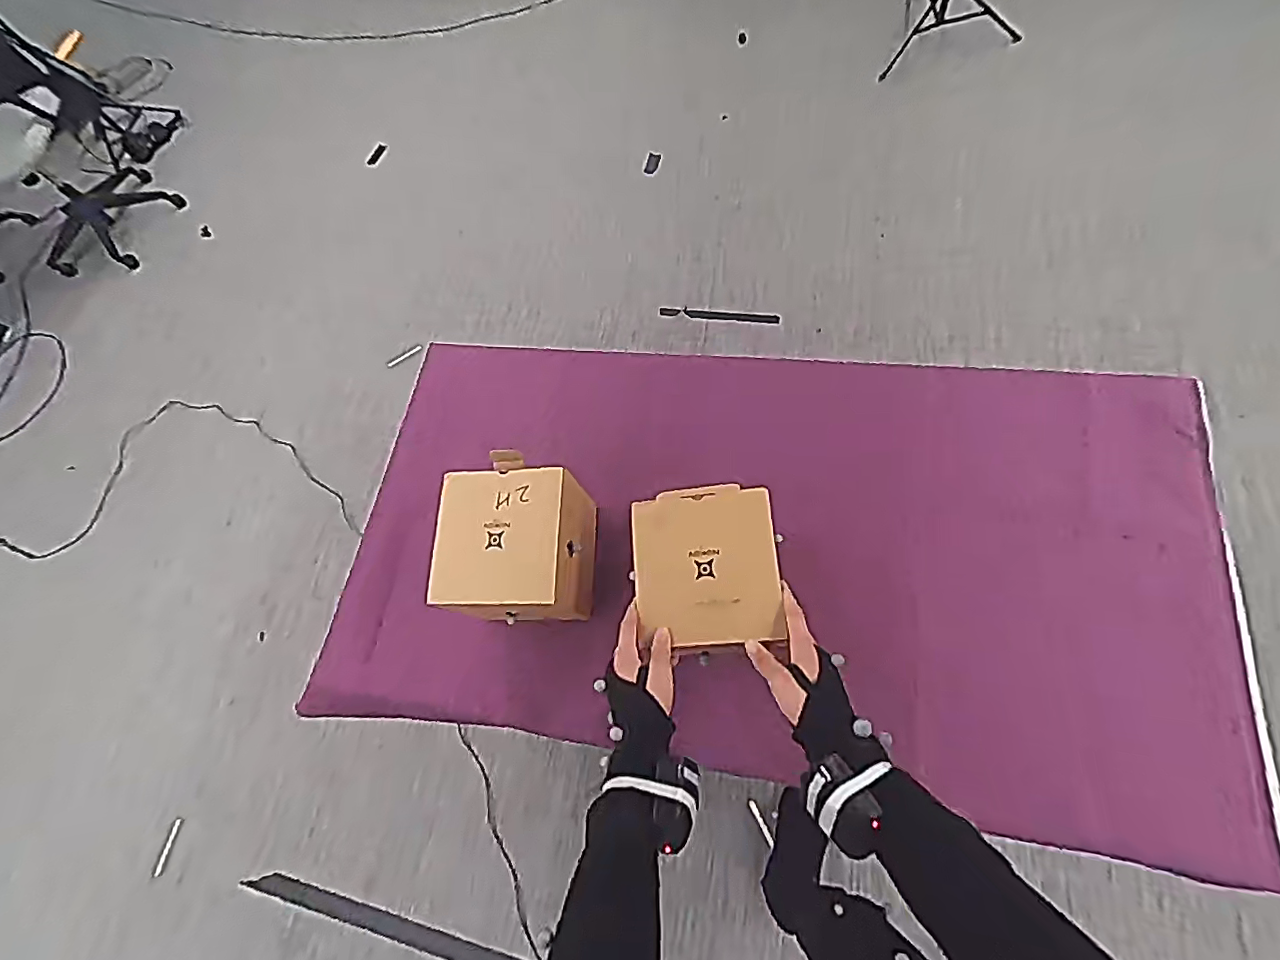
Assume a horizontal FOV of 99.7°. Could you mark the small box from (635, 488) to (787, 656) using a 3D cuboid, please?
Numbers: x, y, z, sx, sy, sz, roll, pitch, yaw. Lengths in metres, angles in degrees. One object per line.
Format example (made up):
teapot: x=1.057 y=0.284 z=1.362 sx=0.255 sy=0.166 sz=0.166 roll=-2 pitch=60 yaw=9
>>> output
small box: x=0.088 y=0.125 z=0.690 sx=0.168 sy=0.176 sz=0.179 roll=-6 pitch=68 yaw=9

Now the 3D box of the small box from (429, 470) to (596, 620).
small box: x=-0.162 y=0.098 z=0.747 sx=0.168 sy=0.176 sz=0.179 roll=-2 pitch=69 yaw=9
